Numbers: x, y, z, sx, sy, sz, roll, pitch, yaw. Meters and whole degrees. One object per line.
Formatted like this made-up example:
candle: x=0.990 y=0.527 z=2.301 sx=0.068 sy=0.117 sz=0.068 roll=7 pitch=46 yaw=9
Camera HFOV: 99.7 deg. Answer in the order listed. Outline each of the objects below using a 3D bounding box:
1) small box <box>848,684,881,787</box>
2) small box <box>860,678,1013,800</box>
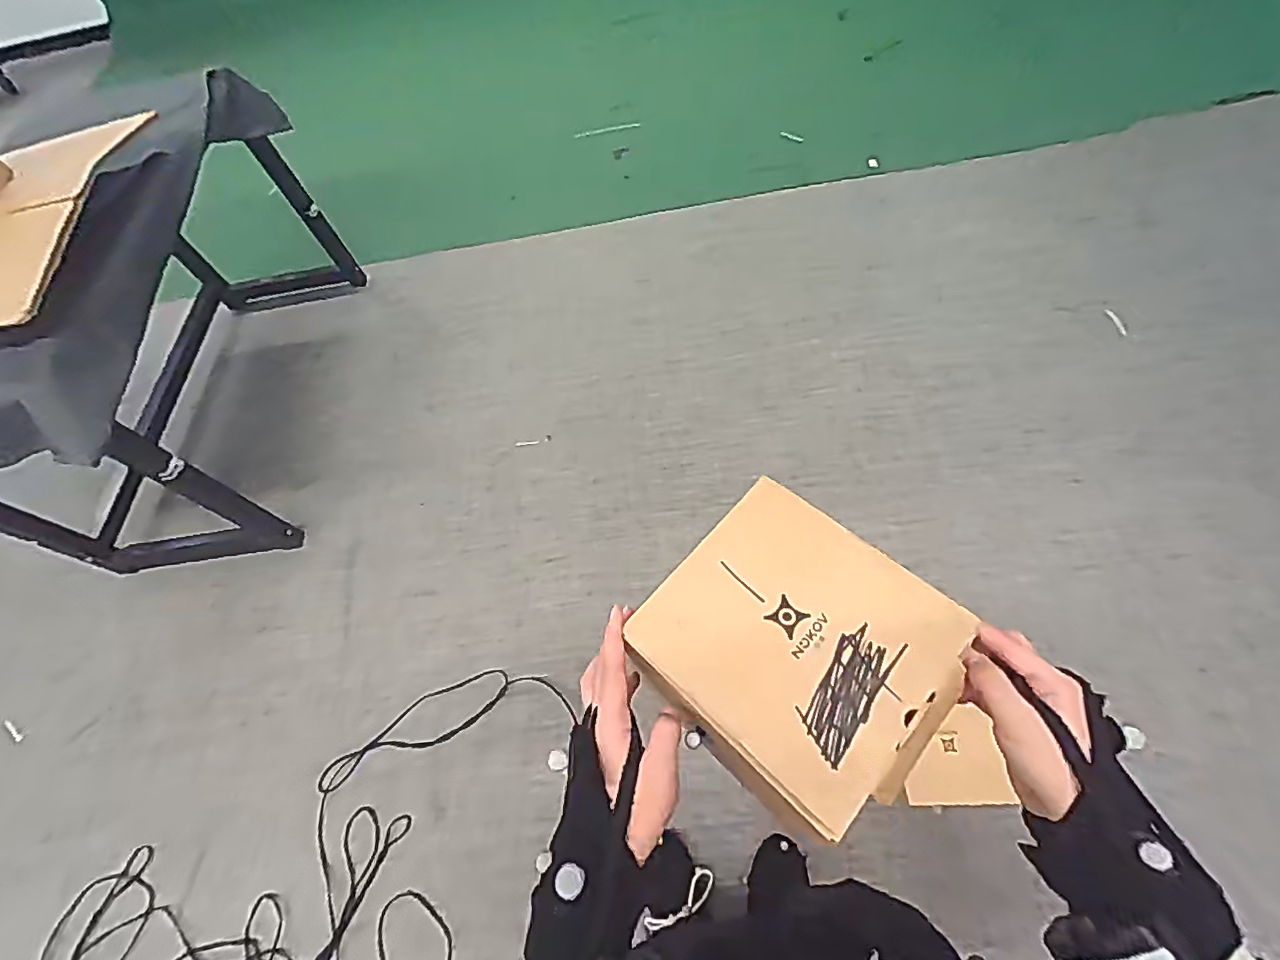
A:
small box: x=0.529 y=0.513 z=1.081 sx=0.168 sy=0.176 sz=0.179 roll=-5 pitch=60 yaw=6
small box: x=0.496 y=0.448 z=0.934 sx=0.168 sy=0.176 sz=0.179 roll=-5 pitch=60 yaw=6
